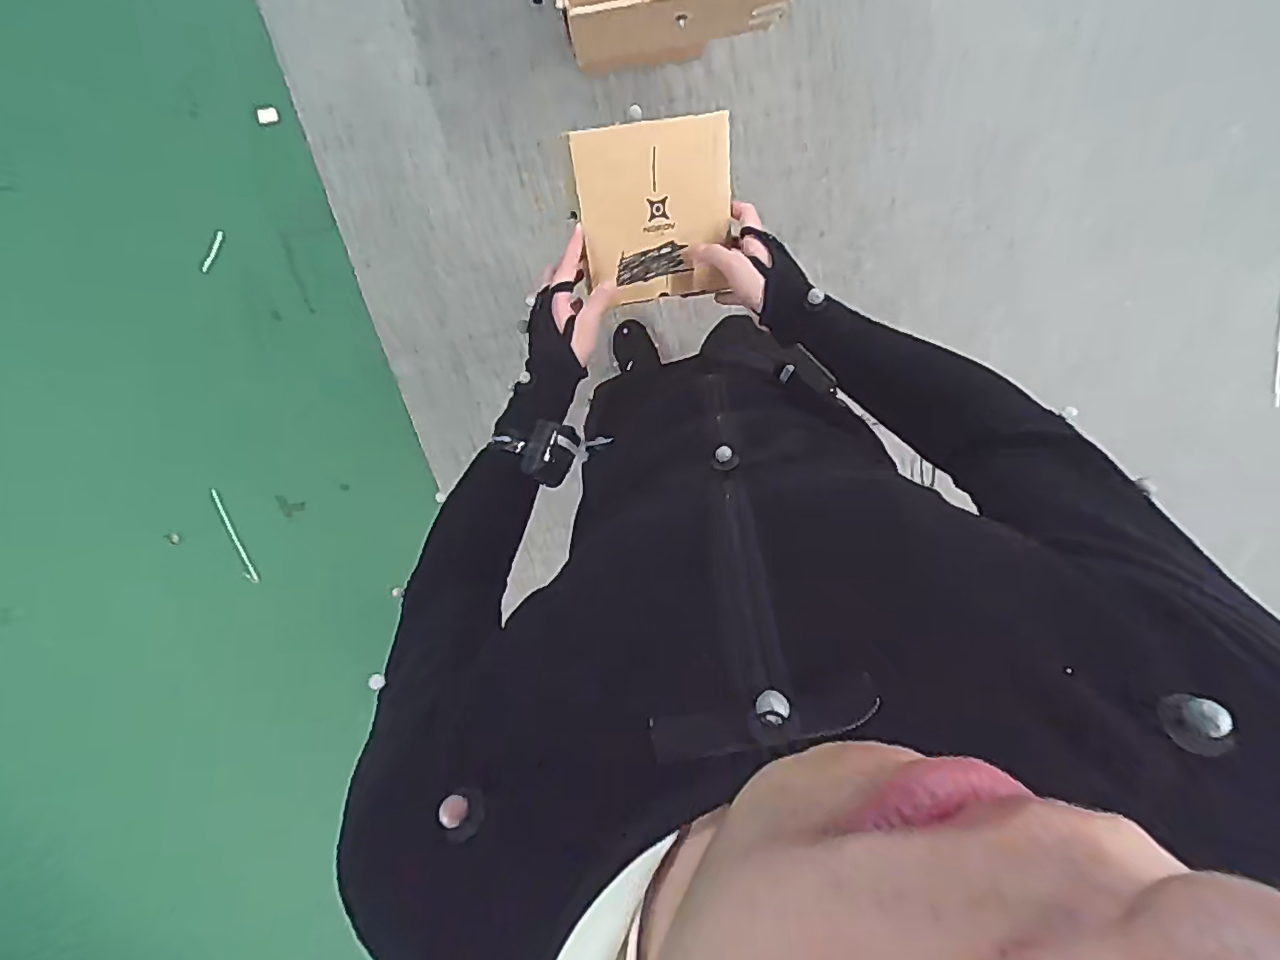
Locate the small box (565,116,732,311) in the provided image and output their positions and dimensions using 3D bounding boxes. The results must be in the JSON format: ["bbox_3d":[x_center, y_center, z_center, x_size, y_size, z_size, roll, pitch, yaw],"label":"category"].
[{"bbox_3d":[0.006,-0.319,0.642,0.168,0.176,0.179,-10,122,-5],"label":"small box"}]
